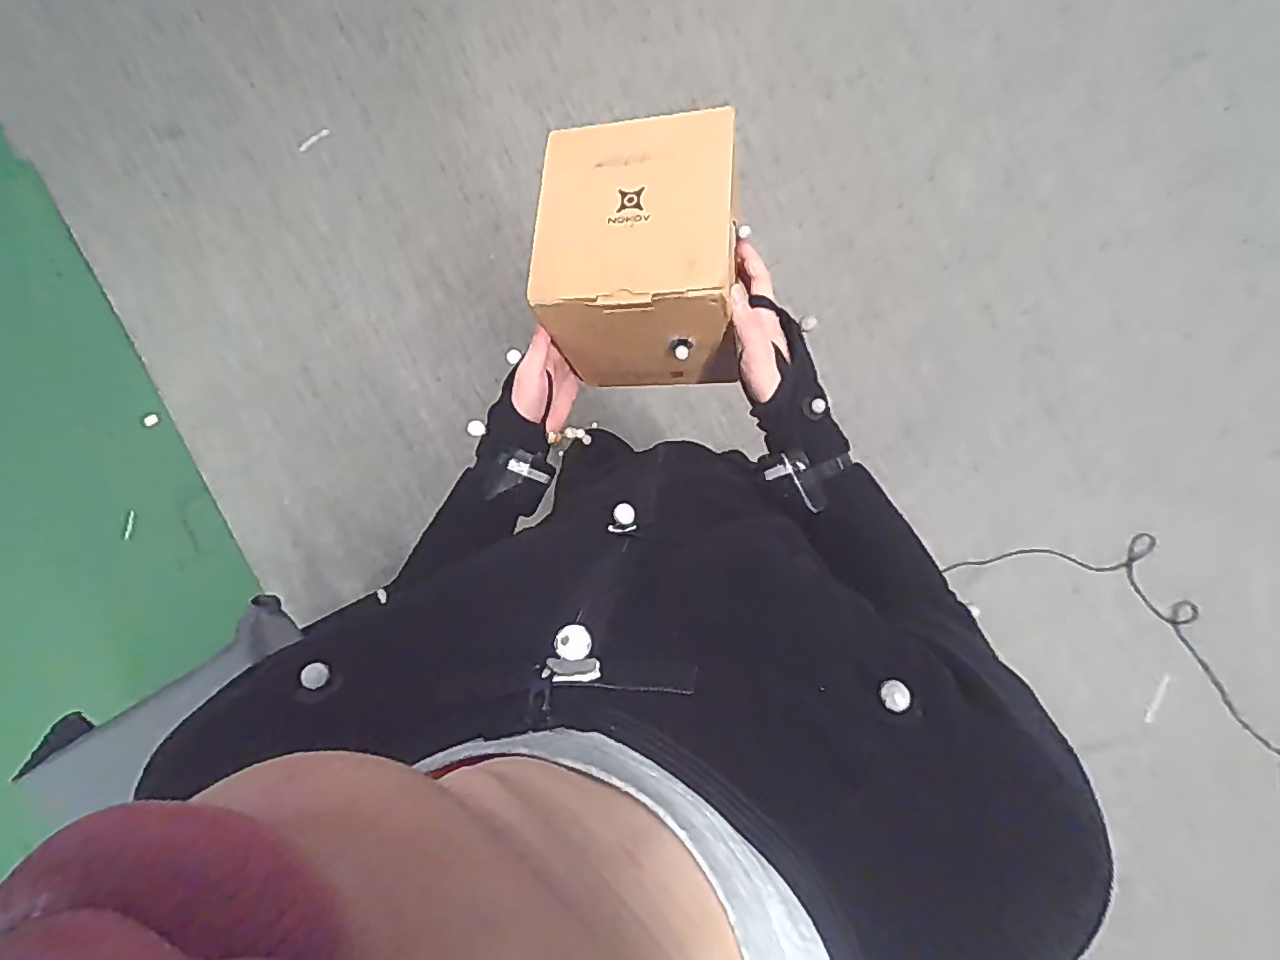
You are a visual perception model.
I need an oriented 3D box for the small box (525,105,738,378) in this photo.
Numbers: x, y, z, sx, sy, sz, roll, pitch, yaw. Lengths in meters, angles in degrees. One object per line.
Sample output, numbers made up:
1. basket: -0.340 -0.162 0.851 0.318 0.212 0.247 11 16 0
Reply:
1. small box: 0.006 -0.207 0.518 0.168 0.176 0.179 1 75 12
